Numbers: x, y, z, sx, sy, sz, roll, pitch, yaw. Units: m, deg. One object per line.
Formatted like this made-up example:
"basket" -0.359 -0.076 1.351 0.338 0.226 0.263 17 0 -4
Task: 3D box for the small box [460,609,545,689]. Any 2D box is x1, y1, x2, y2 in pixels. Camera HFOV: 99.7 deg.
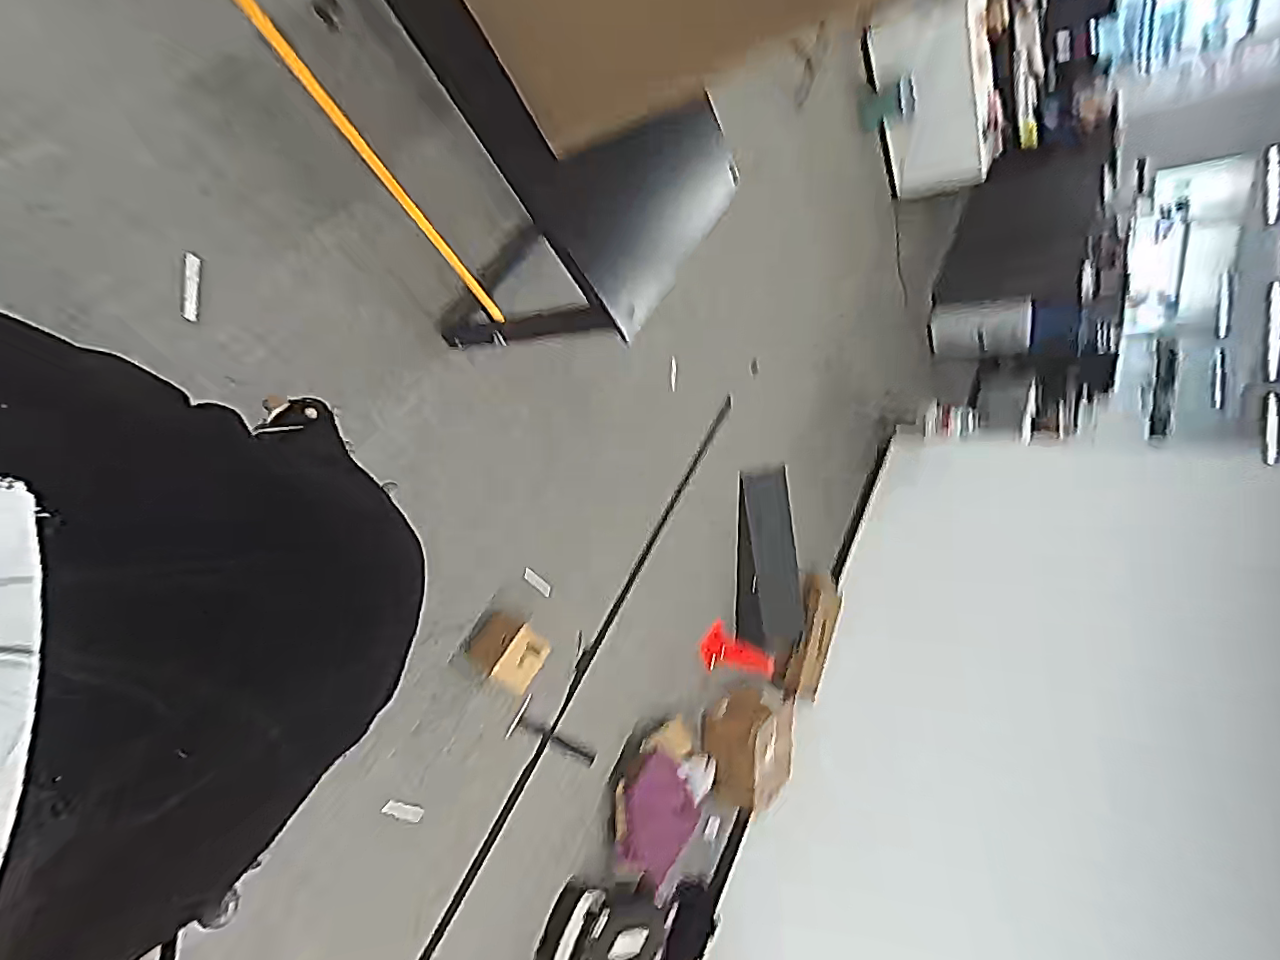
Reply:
"small box" -0.459 0.554 1.797 0.179 0.176 0.168 -56 133 -25
